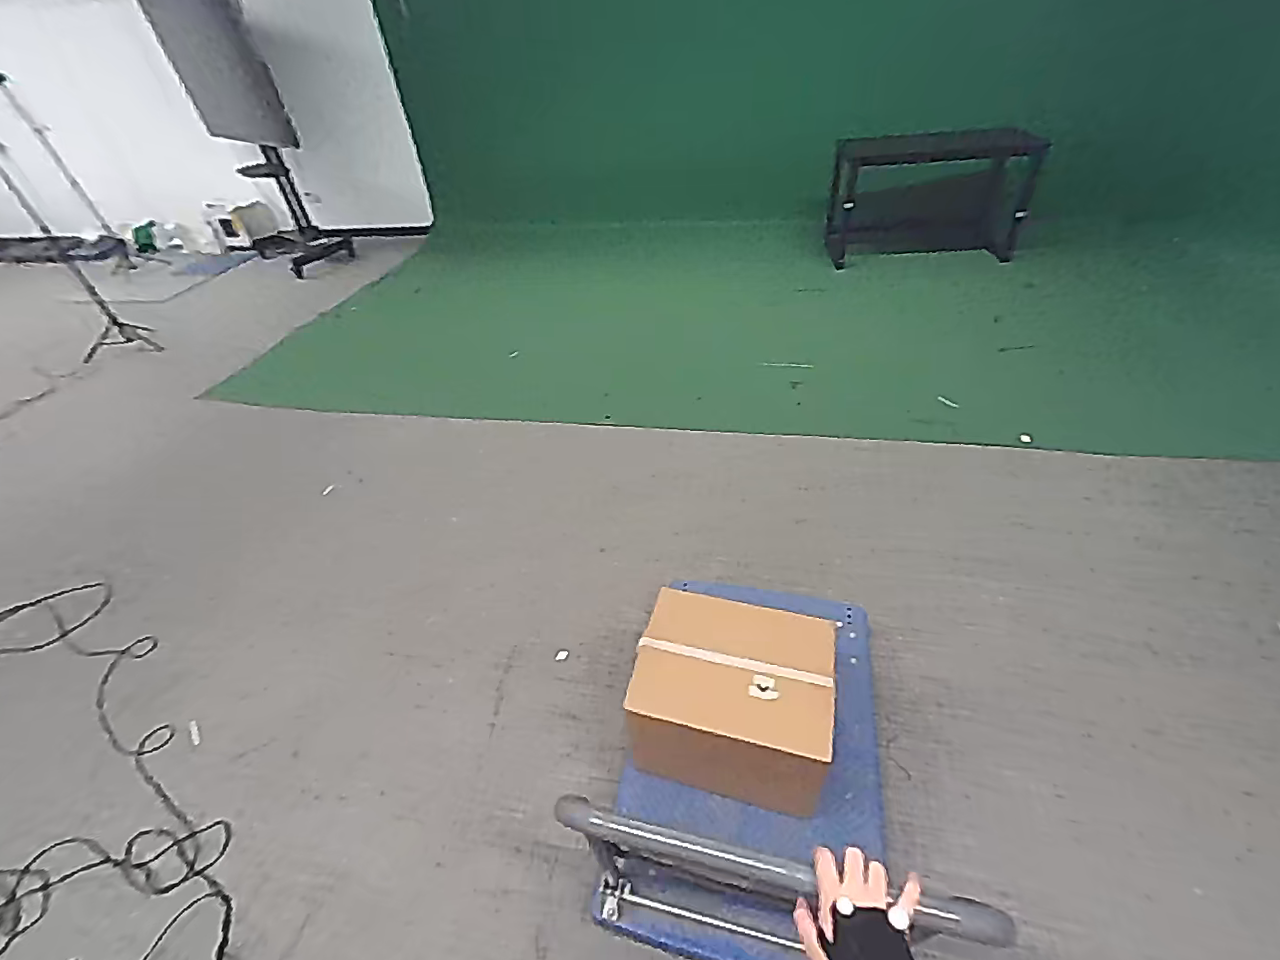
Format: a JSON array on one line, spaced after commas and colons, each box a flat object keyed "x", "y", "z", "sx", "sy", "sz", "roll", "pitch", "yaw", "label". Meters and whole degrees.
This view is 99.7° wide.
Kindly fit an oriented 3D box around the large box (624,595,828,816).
[{"x": 0.199, "y": 0.514, "z": 1.256, "sx": 0.408, "sy": 0.320, "sz": 0.320, "roll": 9, "pitch": 42, "yaw": 14, "label": "large box"}]
